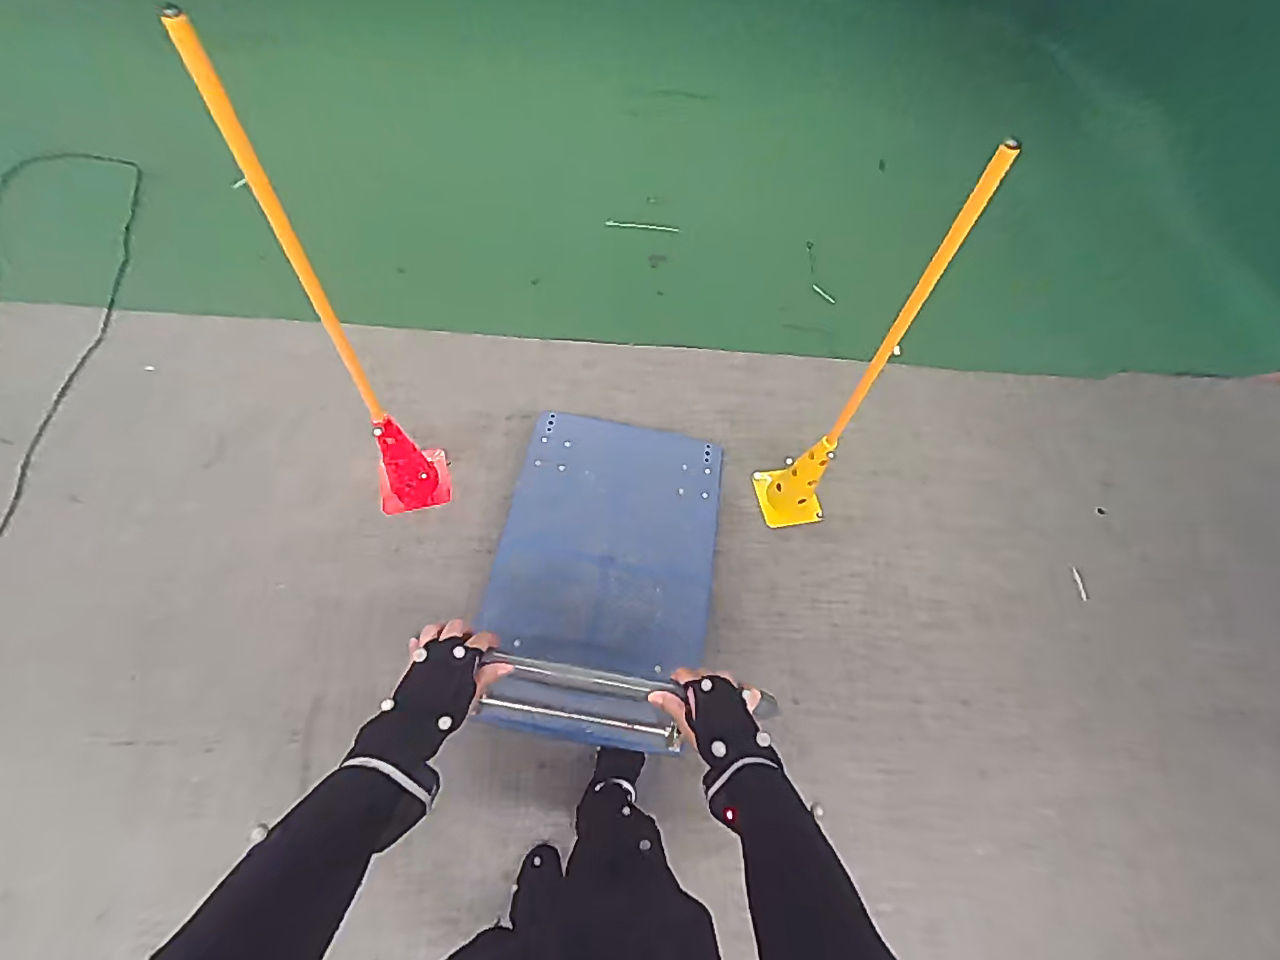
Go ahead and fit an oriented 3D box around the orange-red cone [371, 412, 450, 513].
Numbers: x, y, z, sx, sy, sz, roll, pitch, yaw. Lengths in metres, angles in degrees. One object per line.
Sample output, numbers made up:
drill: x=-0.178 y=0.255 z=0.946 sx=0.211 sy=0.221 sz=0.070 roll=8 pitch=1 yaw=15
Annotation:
orange-red cone: x=-0.677 y=-0.074 z=1.512 sx=0.199 sy=0.360 sz=0.198 roll=-11 pitch=65 yaw=-11
